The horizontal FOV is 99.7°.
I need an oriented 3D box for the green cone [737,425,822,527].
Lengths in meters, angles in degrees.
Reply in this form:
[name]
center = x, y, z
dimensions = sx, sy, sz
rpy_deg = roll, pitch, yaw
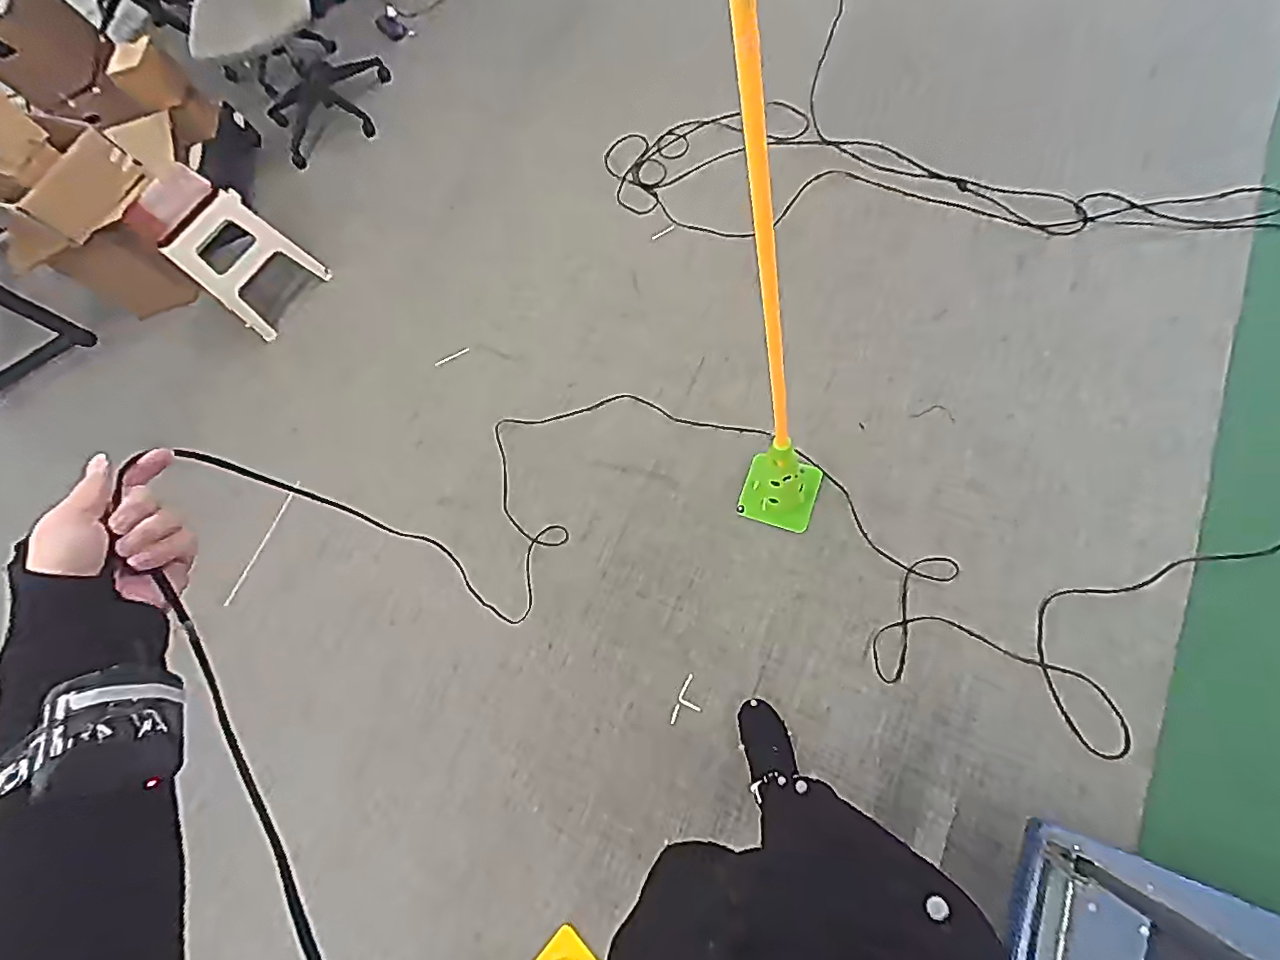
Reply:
[green cone]
center = 0.361, -0.038, 1.370
dimensions = 0.200, 0.368, 0.202
rpy_deg = 17, 74, 17
